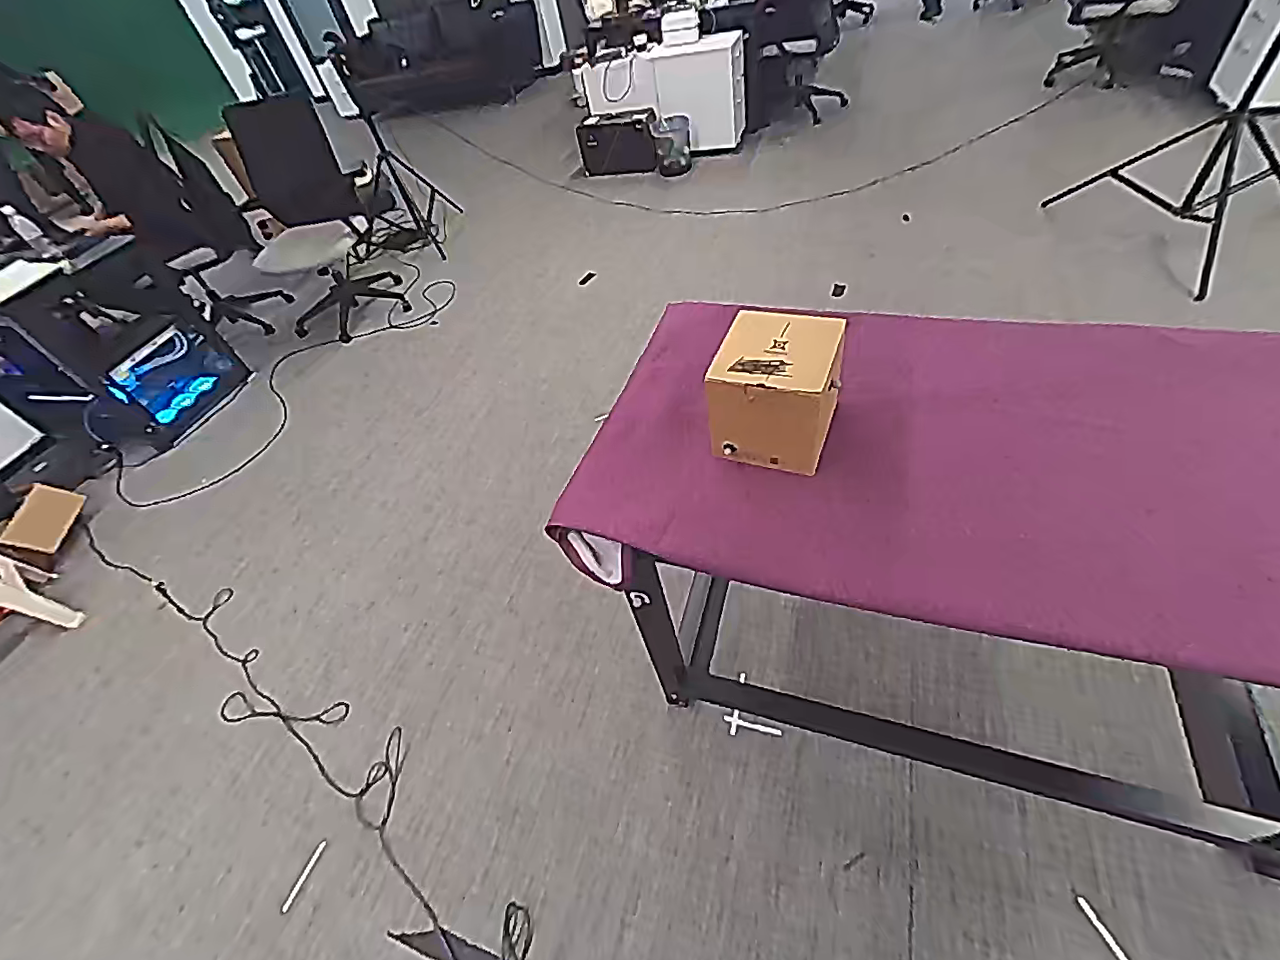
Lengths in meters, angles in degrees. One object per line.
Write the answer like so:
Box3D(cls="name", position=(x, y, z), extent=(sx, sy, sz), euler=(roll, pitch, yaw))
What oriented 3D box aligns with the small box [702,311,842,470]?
Box3D(cls="small box", position=(0.209, -0.139, 0.848), extent=(0.168, 0.176, 0.179), euler=(13, 53, 22))
